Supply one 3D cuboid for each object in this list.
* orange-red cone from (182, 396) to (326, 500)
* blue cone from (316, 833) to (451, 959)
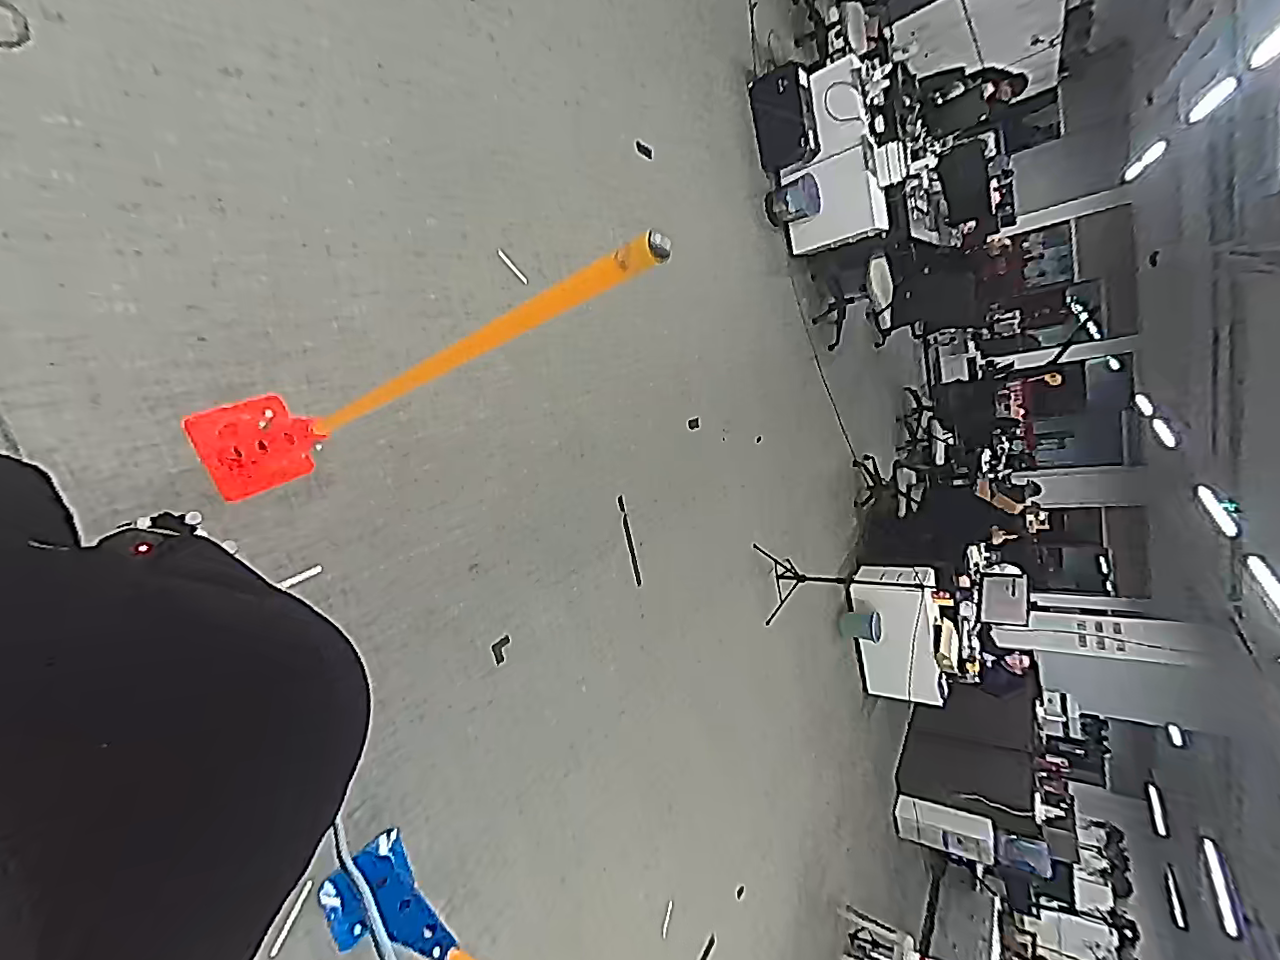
[{"bbox_3d":[-0.728,-0.085,1.091,0.199,0.360,0.198,-34,113,-47],"label":"orange-red cone"},{"bbox_3d":[-0.551,1.003,1.235,0.193,0.380,0.192,-24,105,-51],"label":"blue cone"}]
